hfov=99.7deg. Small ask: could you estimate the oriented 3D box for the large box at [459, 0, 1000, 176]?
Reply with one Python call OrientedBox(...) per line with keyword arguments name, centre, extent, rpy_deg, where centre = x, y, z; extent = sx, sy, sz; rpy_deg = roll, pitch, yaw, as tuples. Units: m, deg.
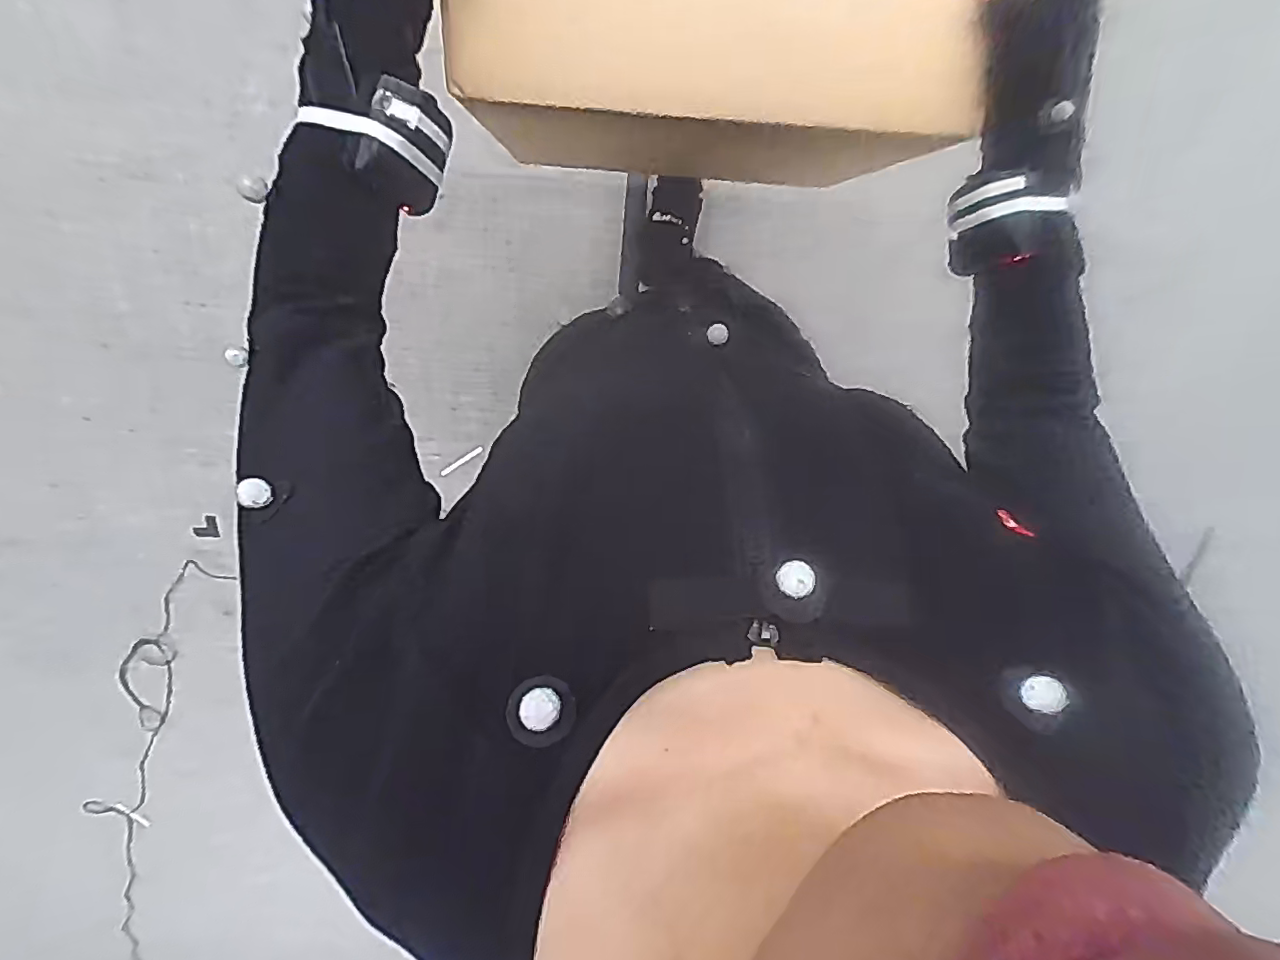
OrientedBox(name="large box", centre=(0.061, -0.482, 0.495), extent=(0.408, 0.320, 0.320), rpy_deg=(1, 113, -5))
